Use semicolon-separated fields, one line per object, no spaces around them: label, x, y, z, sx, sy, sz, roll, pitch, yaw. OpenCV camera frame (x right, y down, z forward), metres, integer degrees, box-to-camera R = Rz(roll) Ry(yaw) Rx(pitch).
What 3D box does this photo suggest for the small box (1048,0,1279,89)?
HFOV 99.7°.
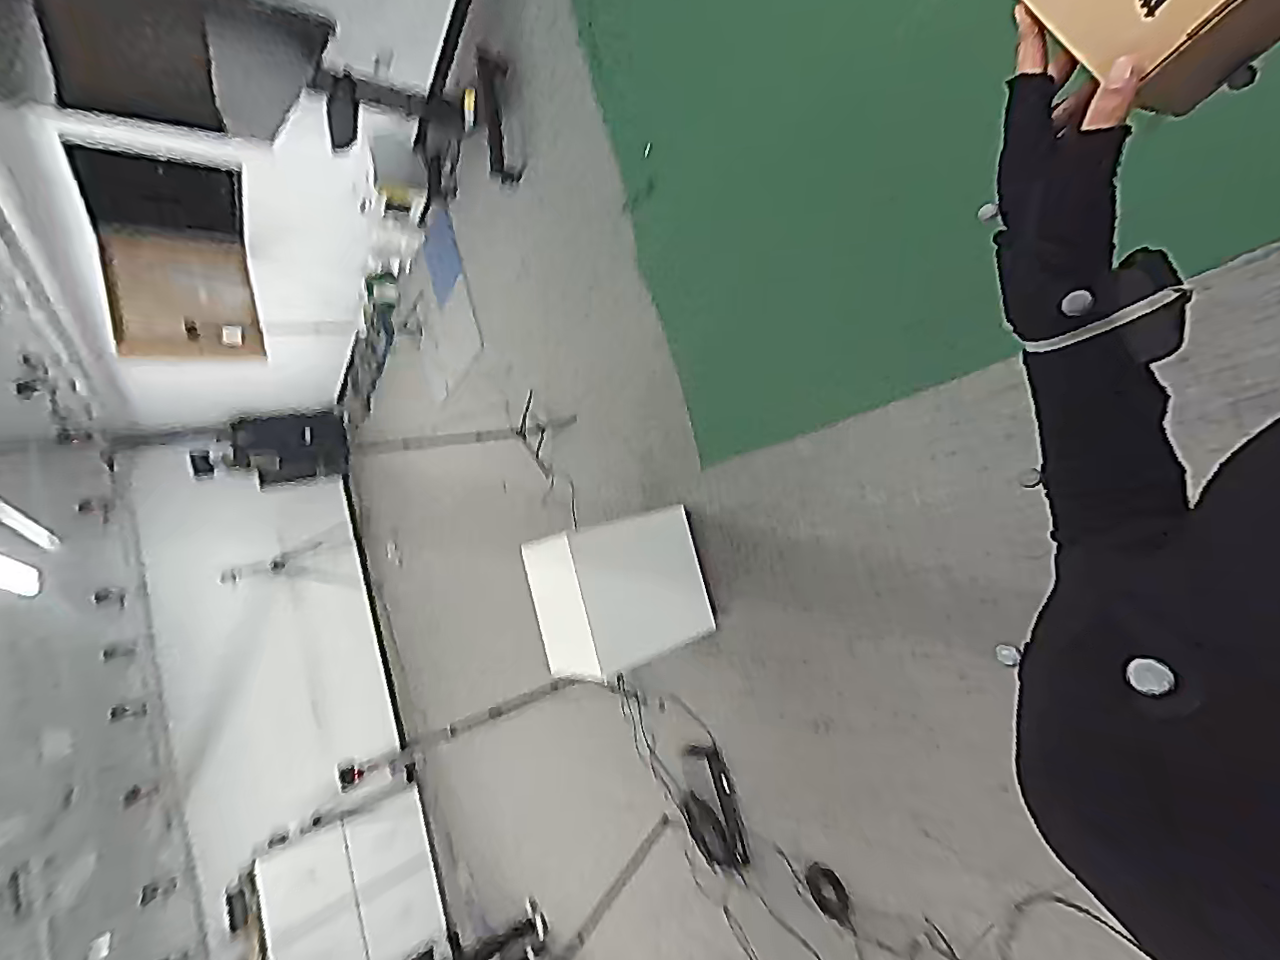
small box;0.311;-0.340;0.279;0.179;0.176;0.168;61;145;11
